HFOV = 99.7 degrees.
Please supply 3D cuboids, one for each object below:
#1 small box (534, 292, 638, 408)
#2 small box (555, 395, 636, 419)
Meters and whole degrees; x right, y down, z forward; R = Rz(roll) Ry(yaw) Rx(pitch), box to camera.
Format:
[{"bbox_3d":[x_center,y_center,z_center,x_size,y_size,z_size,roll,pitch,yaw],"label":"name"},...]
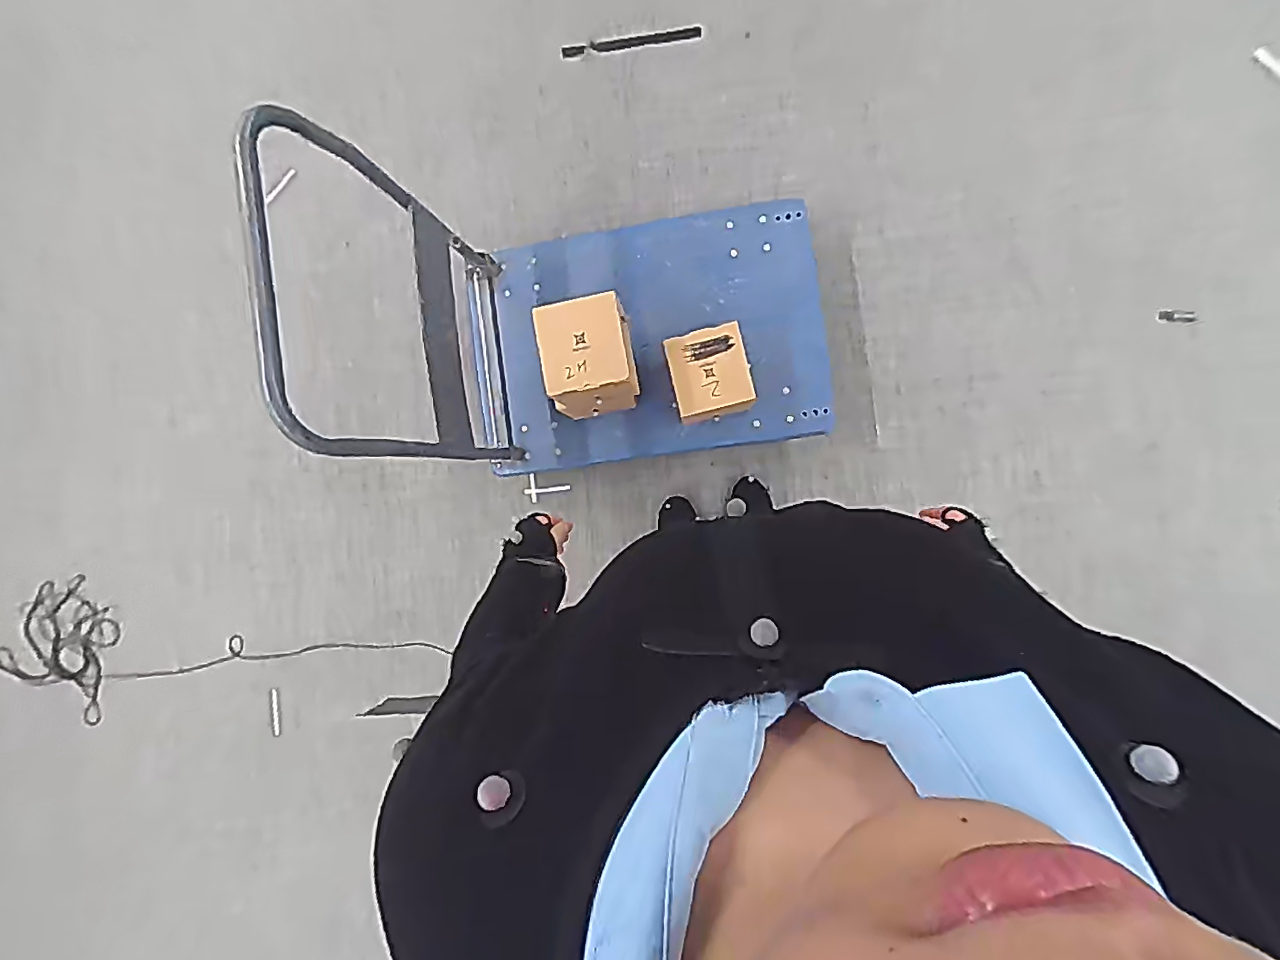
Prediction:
[{"bbox_3d":[-0.103,-0.257,1.105,0.168,0.176,0.179,-10,89,7],"label":"small box"},{"bbox_3d":[-0.110,-0.252,1.271,0.168,0.176,0.179,-11,89,6],"label":"small box"}]
